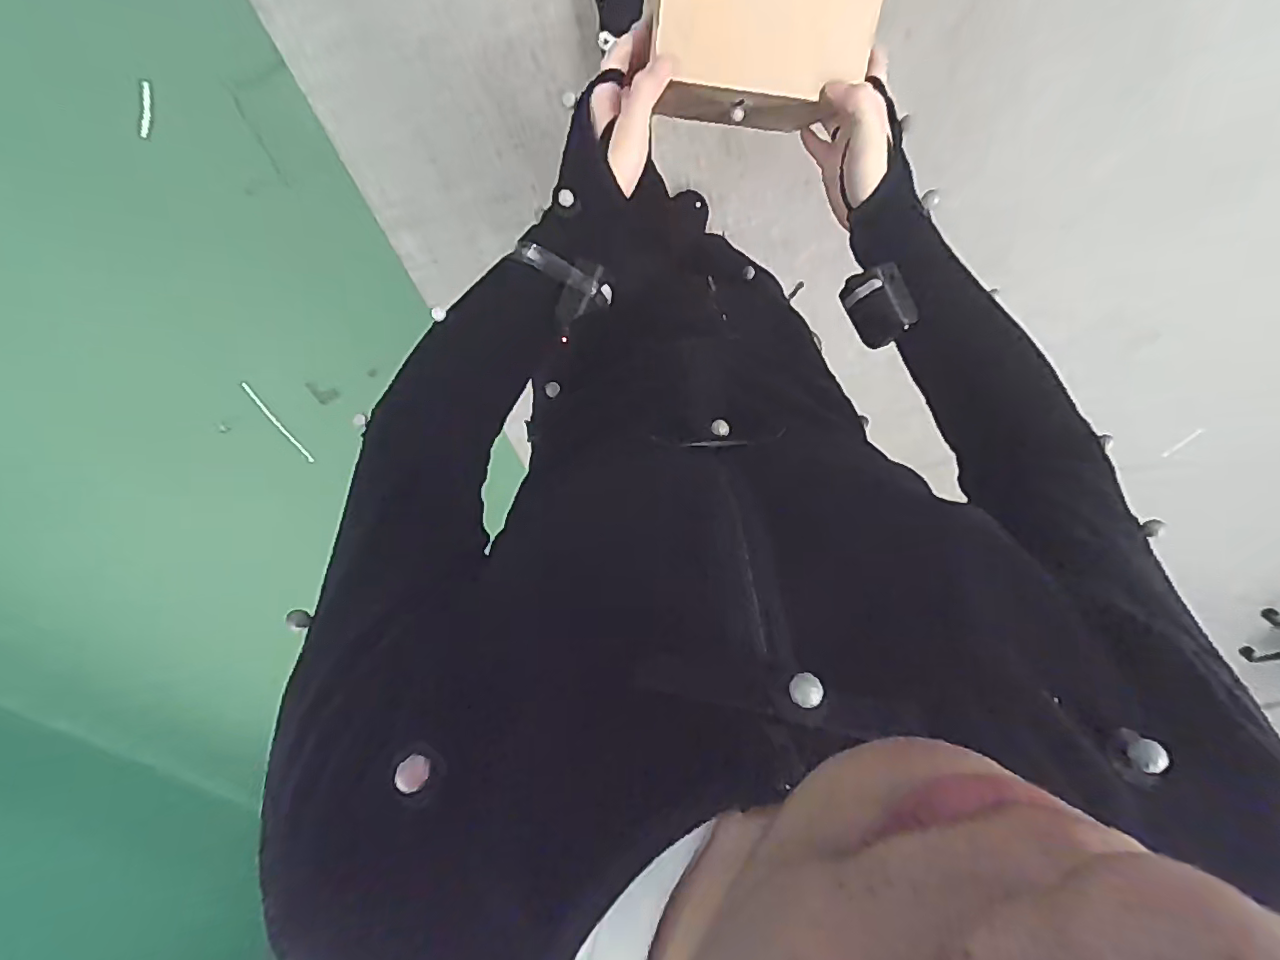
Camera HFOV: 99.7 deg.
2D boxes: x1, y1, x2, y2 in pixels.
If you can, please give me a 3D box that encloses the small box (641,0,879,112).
[{"bbox_3d":[0.098,-0.438,0.469,0.179,0.176,0.168,4,116,-7],"label":"small box"}]
